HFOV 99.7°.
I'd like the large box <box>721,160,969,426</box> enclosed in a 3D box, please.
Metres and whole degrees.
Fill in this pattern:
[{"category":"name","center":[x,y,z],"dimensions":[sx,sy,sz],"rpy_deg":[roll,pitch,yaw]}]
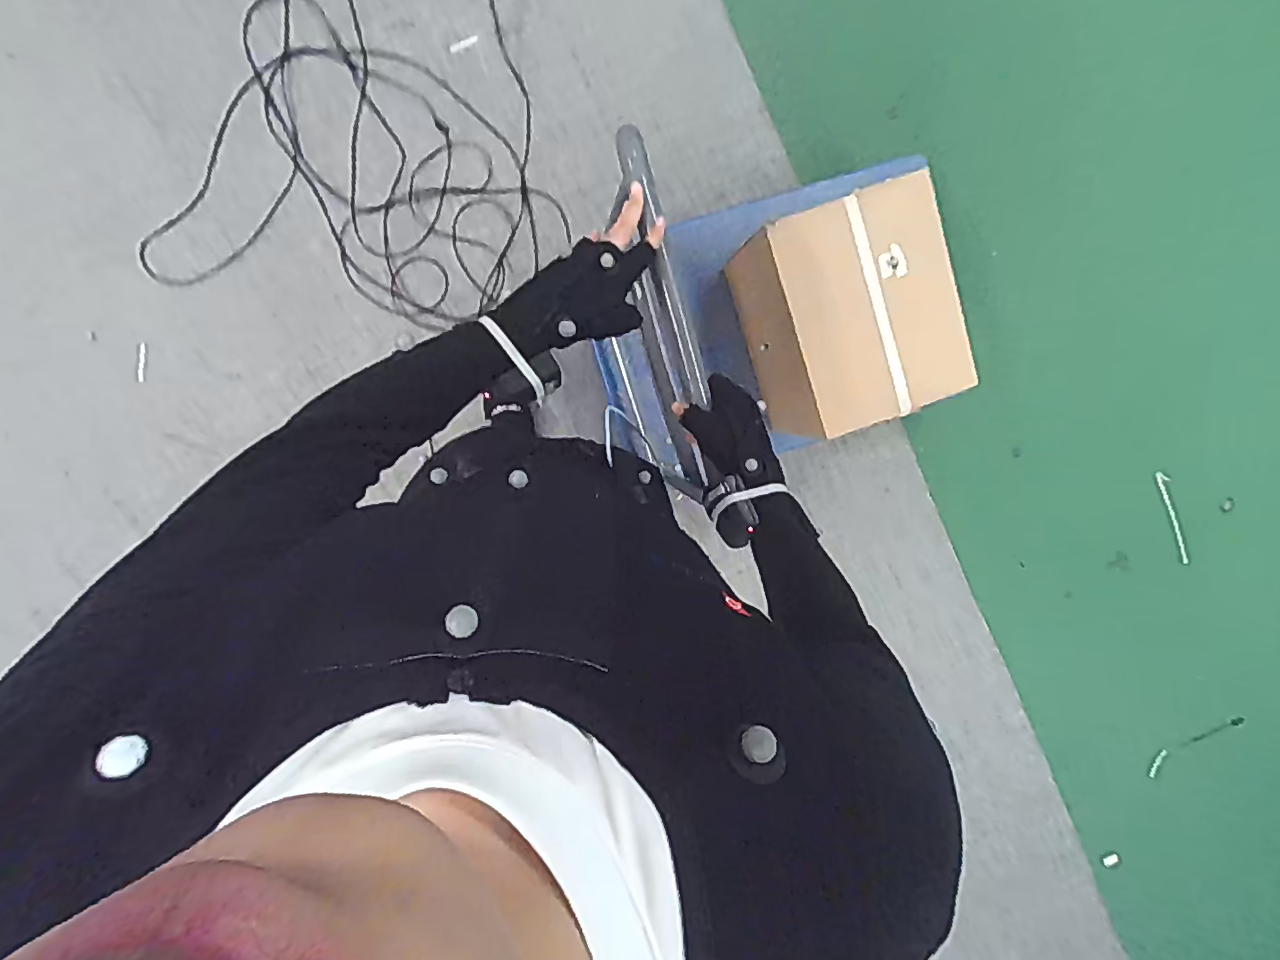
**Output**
[{"category":"large box","center":[0.404,-0.357,1.134],"dimensions":[0.320,0.320,0.408],"rpy_deg":[-20,100,-3]}]
